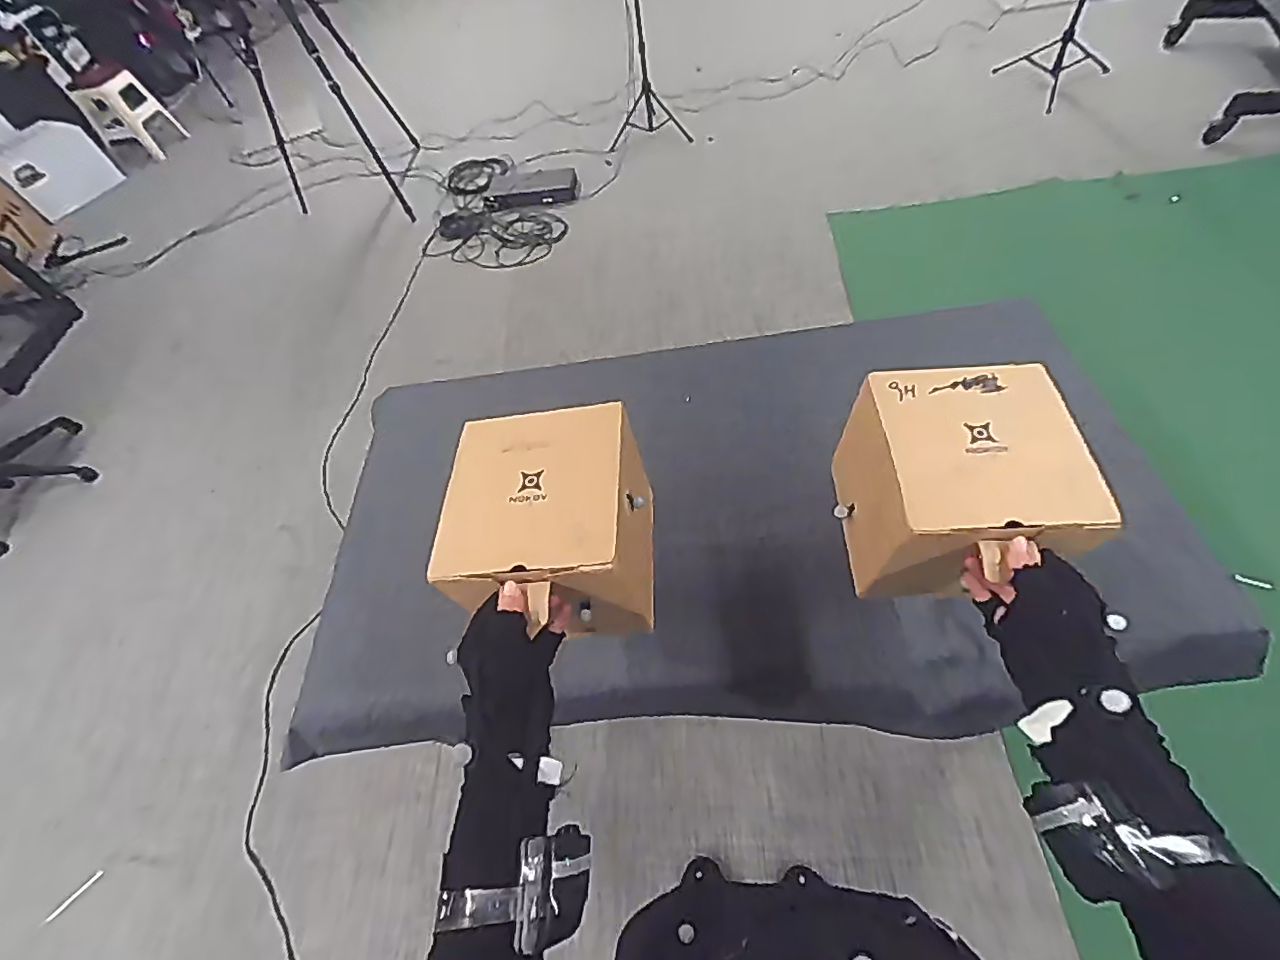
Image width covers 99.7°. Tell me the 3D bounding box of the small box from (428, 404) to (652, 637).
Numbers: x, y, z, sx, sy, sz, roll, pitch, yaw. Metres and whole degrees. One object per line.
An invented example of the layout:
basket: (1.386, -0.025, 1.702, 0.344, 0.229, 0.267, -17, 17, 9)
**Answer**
small box: (-0.082, 0.051, 0.546, 0.168, 0.176, 0.179, -6, 54, 9)
